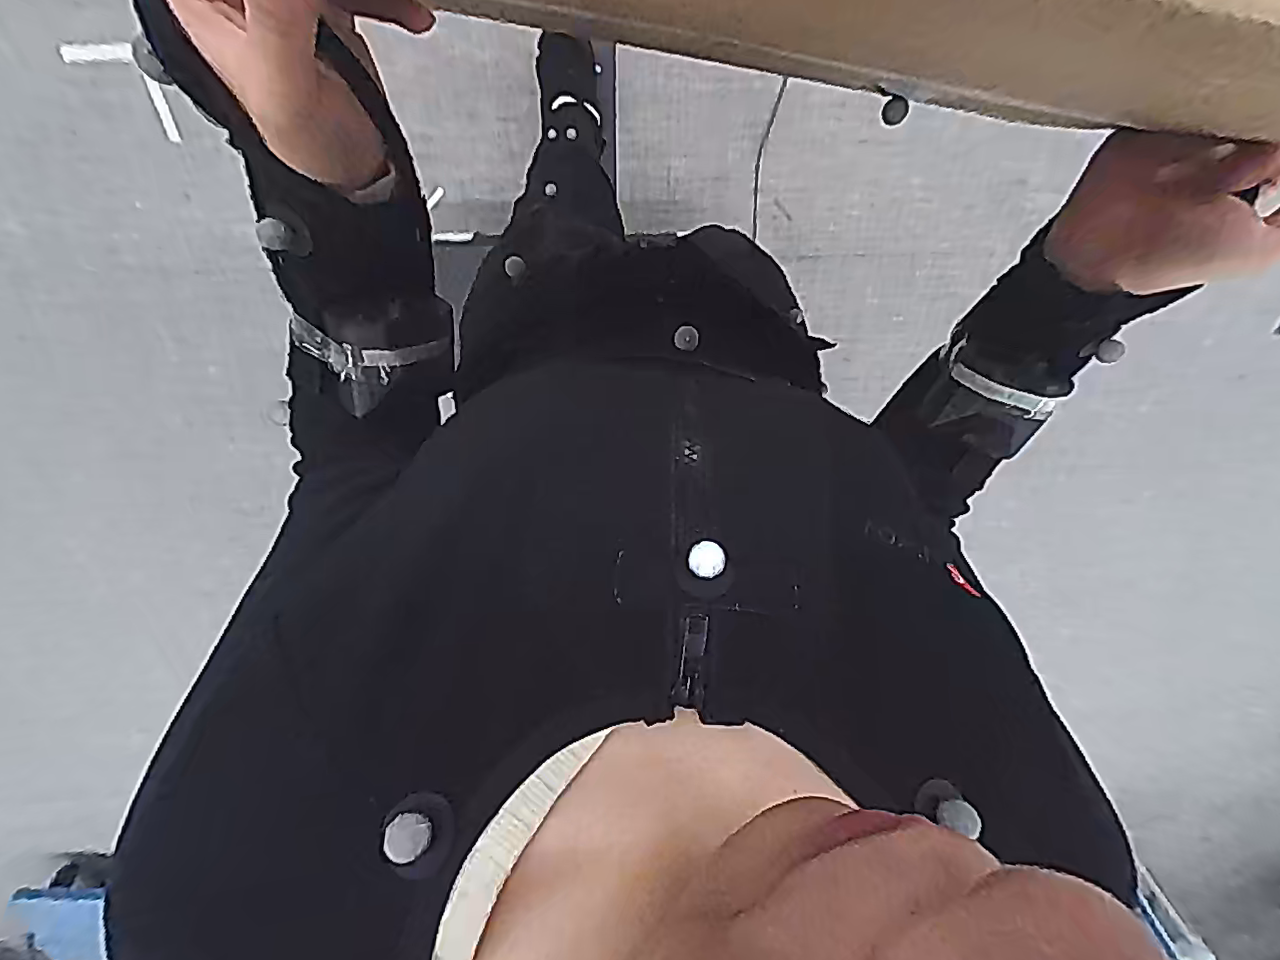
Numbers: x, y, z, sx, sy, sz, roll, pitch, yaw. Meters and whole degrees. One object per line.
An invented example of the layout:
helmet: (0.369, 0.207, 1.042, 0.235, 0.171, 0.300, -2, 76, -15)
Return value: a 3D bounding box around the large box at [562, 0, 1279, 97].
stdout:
large box: (0.090, -0.311, 0.124, 0.408, 0.320, 0.320, 3, 127, -8)
